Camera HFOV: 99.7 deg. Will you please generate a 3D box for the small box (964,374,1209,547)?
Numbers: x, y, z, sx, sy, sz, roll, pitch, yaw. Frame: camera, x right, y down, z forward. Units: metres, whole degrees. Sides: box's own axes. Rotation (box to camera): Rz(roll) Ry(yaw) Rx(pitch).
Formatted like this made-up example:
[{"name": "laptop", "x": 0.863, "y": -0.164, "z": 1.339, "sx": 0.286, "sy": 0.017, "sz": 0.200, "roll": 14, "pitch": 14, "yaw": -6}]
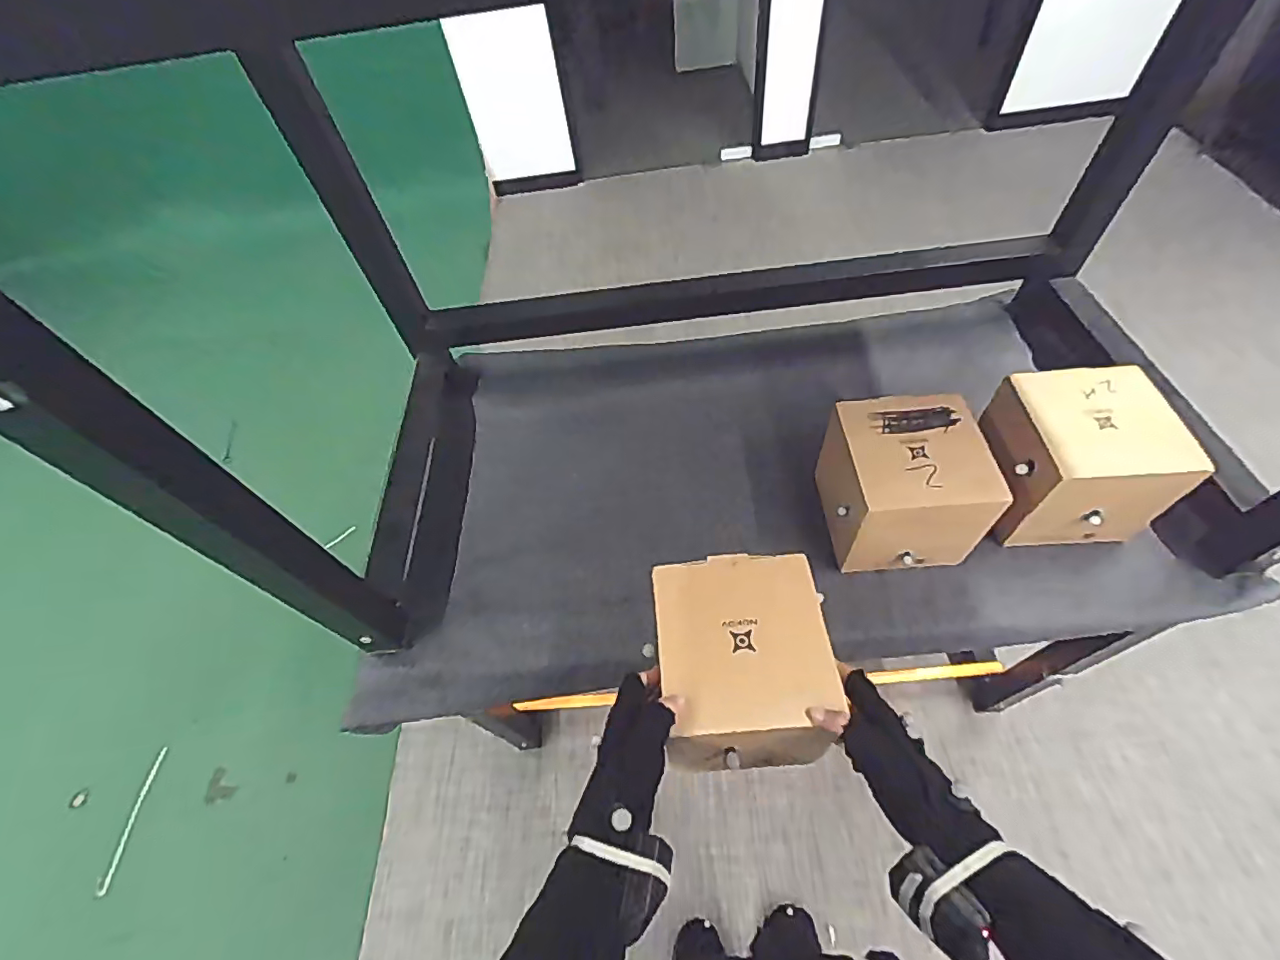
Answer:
[{"name": "small box", "x": 0.577, "y": -0.018, "z": 0.733, "sx": 0.168, "sy": 0.176, "sz": 0.179, "roll": -3, "pitch": 54, "yaw": 5}]
